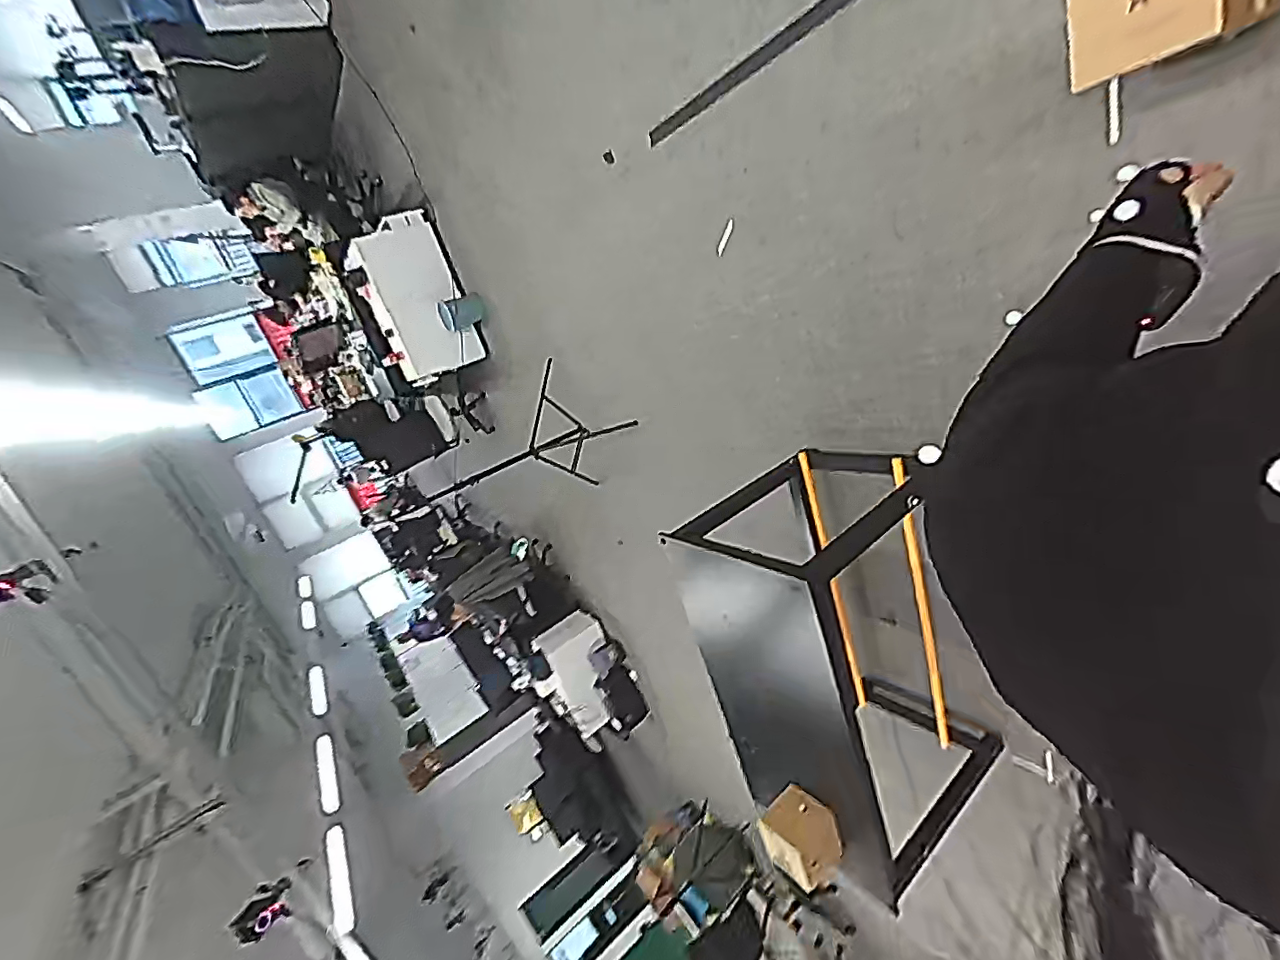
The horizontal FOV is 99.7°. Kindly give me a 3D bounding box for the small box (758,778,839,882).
[{"bbox_3d":[0.507,1.100,1.713,0.168,0.176,0.179,11,125,56],"label":"small box"}]

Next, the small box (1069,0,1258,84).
[{"bbox_3d":[0.753,-0.716,0.781,0.168,0.176,0.179,11,127,58],"label":"small box"}]
